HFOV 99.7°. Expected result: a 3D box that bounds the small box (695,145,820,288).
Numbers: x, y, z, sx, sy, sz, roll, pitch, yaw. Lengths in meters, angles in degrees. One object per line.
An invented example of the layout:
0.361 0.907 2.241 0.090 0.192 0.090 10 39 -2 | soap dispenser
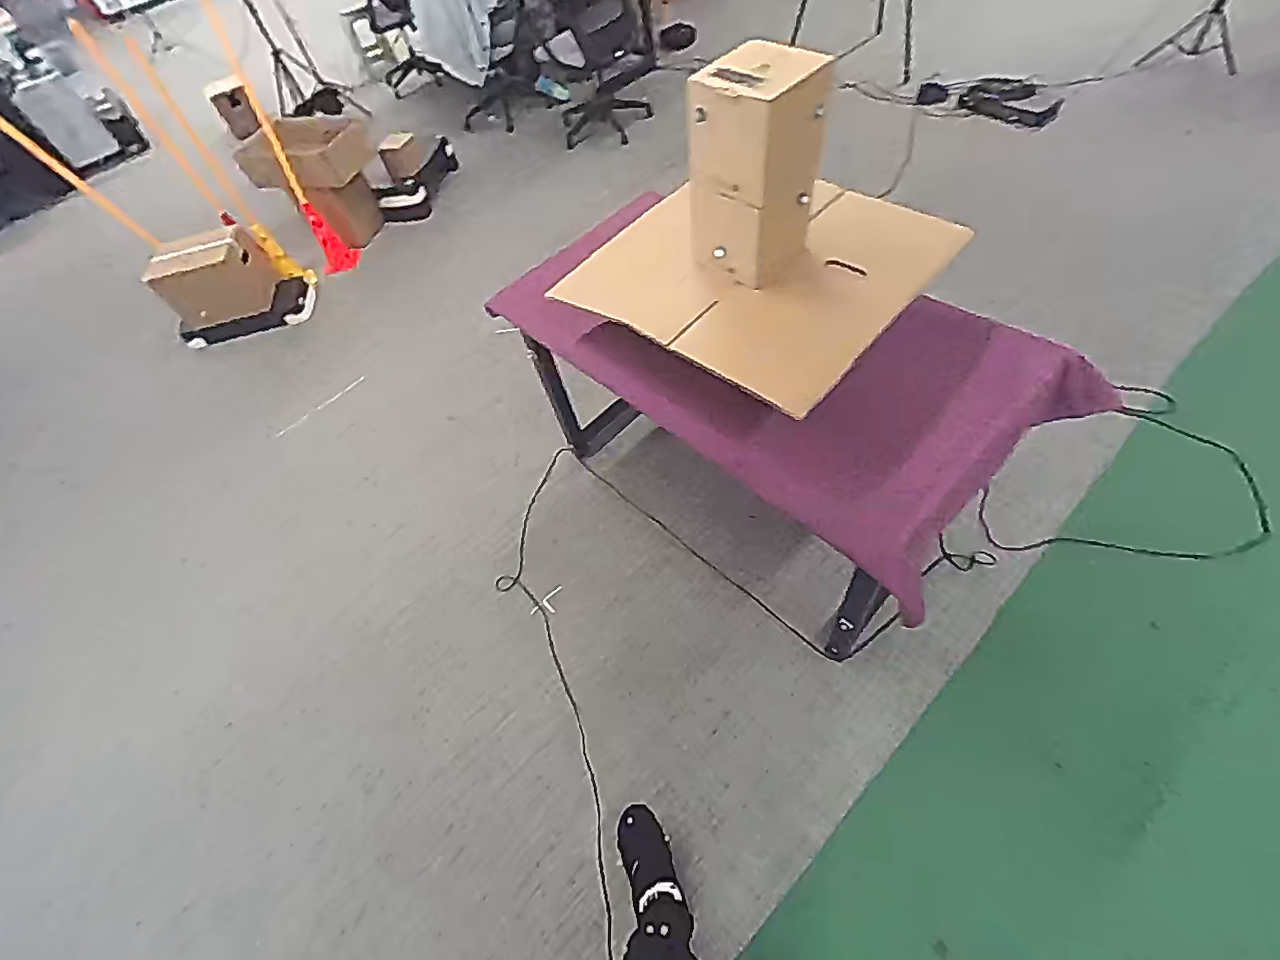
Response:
0.224 -0.517 1.067 0.168 0.176 0.179 37 70 27 | small box
